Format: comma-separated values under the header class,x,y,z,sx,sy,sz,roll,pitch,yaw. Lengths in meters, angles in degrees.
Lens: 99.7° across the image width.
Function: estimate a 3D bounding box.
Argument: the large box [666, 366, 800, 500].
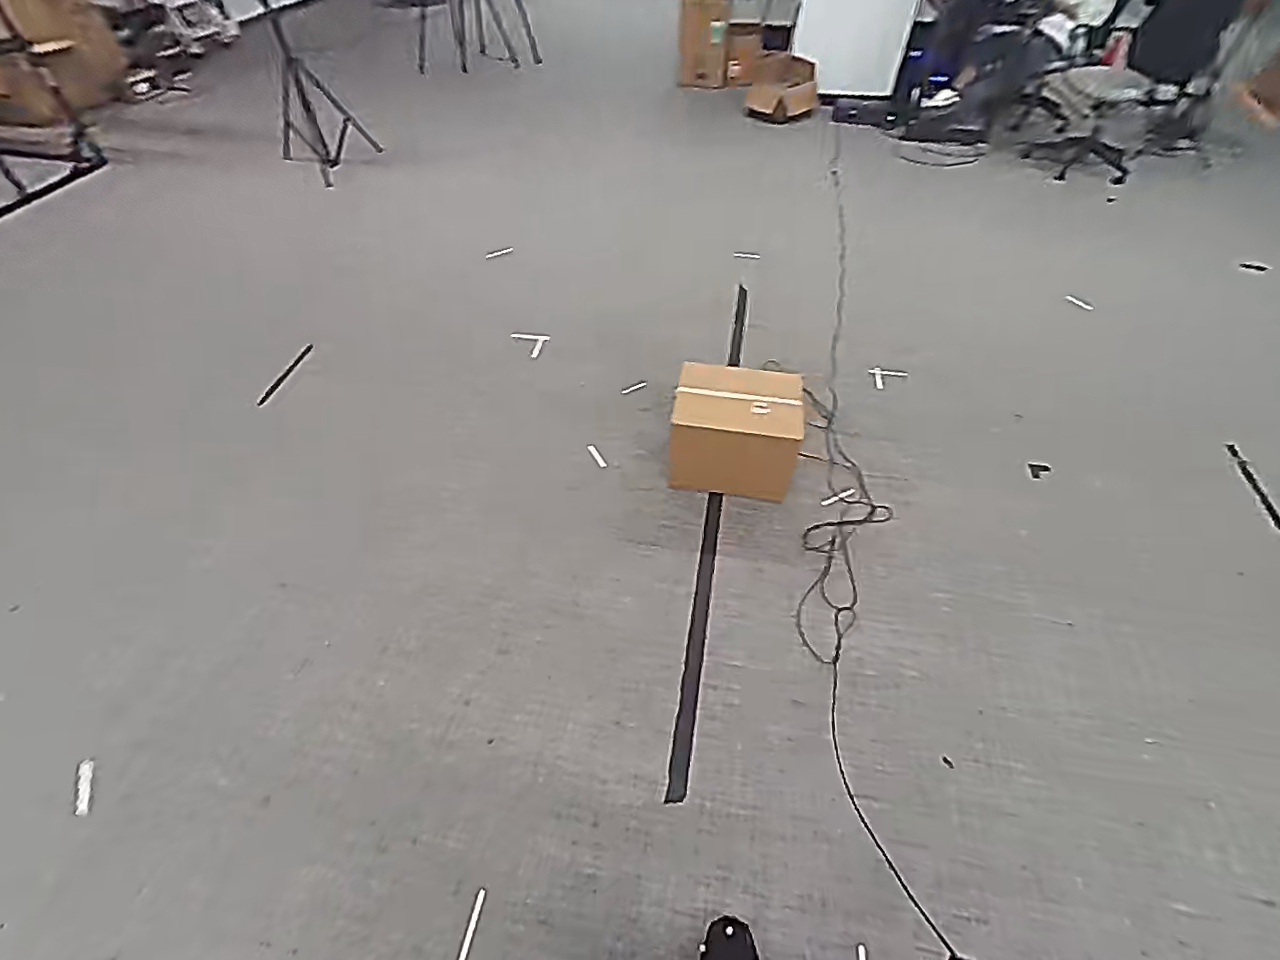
class,x,y,z,sx,sy,sz,roll,pitch,yaw
large box,0.309,-0.159,1.862,0.408,0.320,0.320,8,50,6
